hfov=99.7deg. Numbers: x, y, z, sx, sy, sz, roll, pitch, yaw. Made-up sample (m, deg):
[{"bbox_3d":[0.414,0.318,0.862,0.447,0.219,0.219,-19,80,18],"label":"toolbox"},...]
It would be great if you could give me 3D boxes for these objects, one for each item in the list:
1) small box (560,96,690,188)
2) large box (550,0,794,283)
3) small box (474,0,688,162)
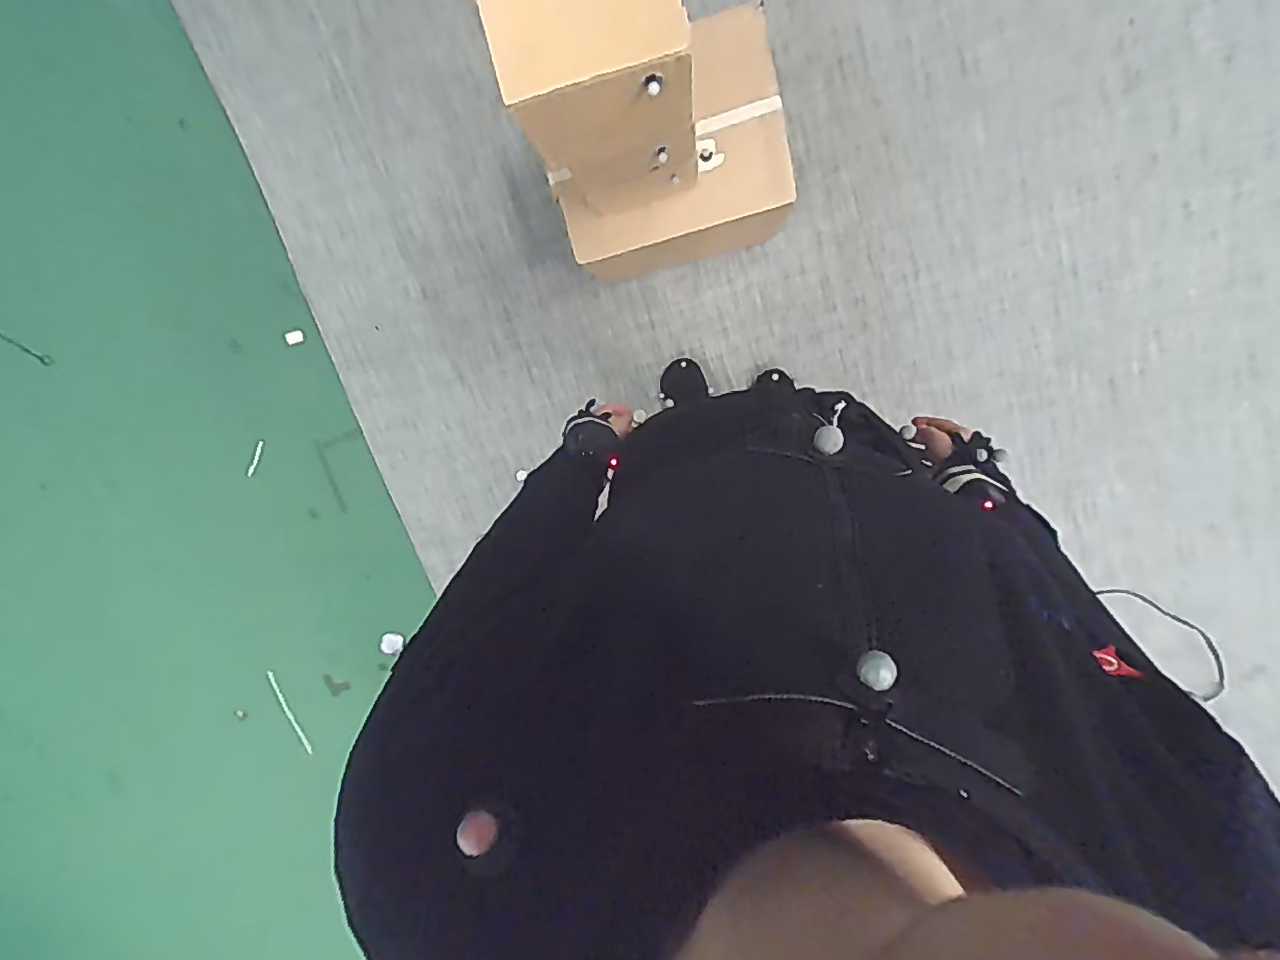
[{"bbox_3d":[-0.033,-0.497,0.689,0.168,0.176,0.179,-14,101,8],"label":"small box"},{"bbox_3d":[0.051,-0.616,1.072,0.408,0.320,0.320,-13,103,8],"label":"large box"},{"bbox_3d":[-0.052,-0.446,0.535,0.179,0.176,0.168,-12,102,7],"label":"small box"}]
